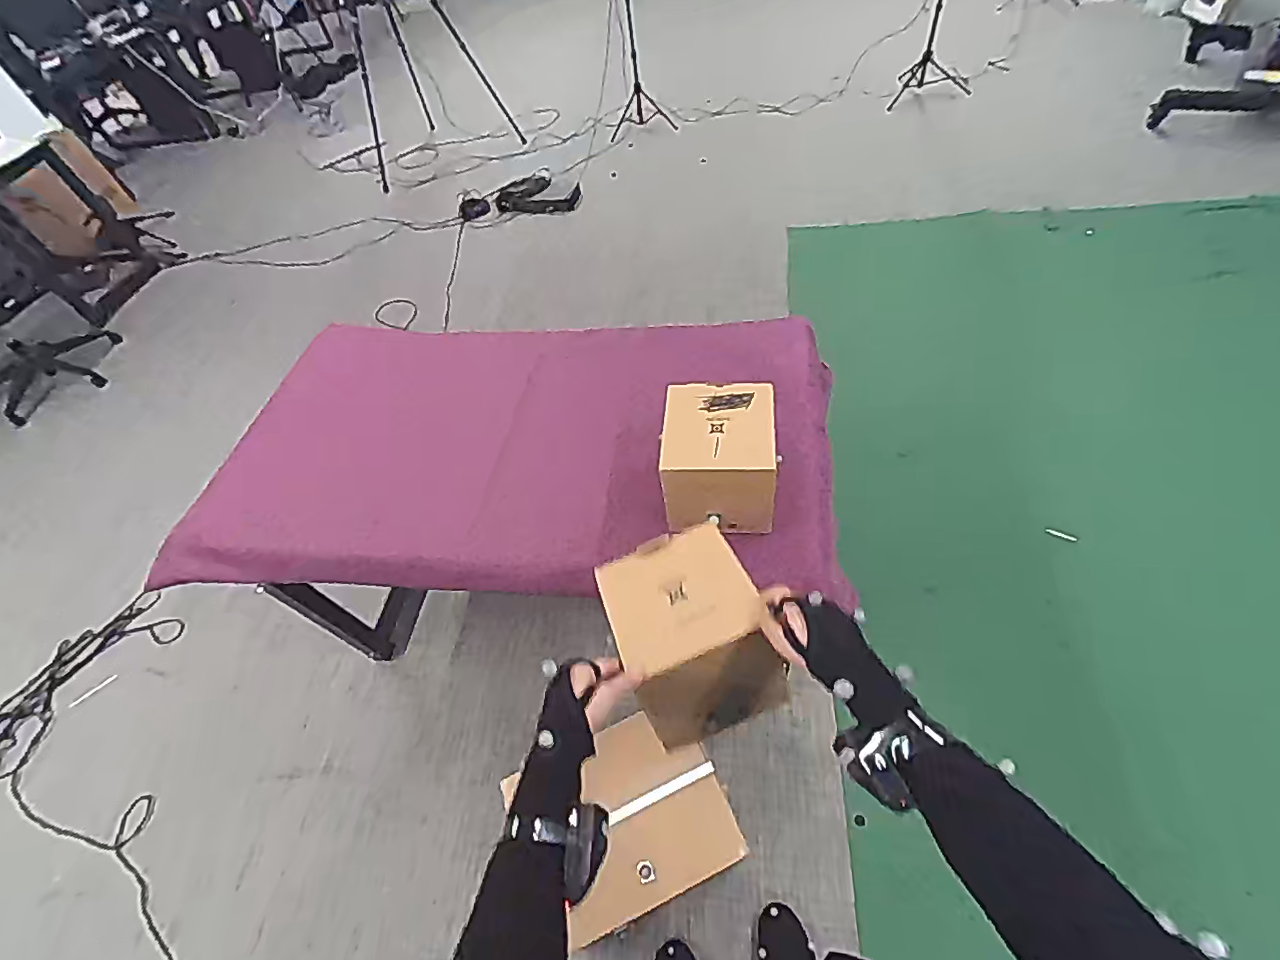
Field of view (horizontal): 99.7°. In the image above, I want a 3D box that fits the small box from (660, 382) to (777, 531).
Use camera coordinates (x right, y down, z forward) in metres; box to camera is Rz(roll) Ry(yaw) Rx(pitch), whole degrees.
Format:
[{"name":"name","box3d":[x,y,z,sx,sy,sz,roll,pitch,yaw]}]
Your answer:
[{"name":"small box","box3d":[0.130,-0.038,0.870,0.168,0.176,0.179,0,53,11]}]
